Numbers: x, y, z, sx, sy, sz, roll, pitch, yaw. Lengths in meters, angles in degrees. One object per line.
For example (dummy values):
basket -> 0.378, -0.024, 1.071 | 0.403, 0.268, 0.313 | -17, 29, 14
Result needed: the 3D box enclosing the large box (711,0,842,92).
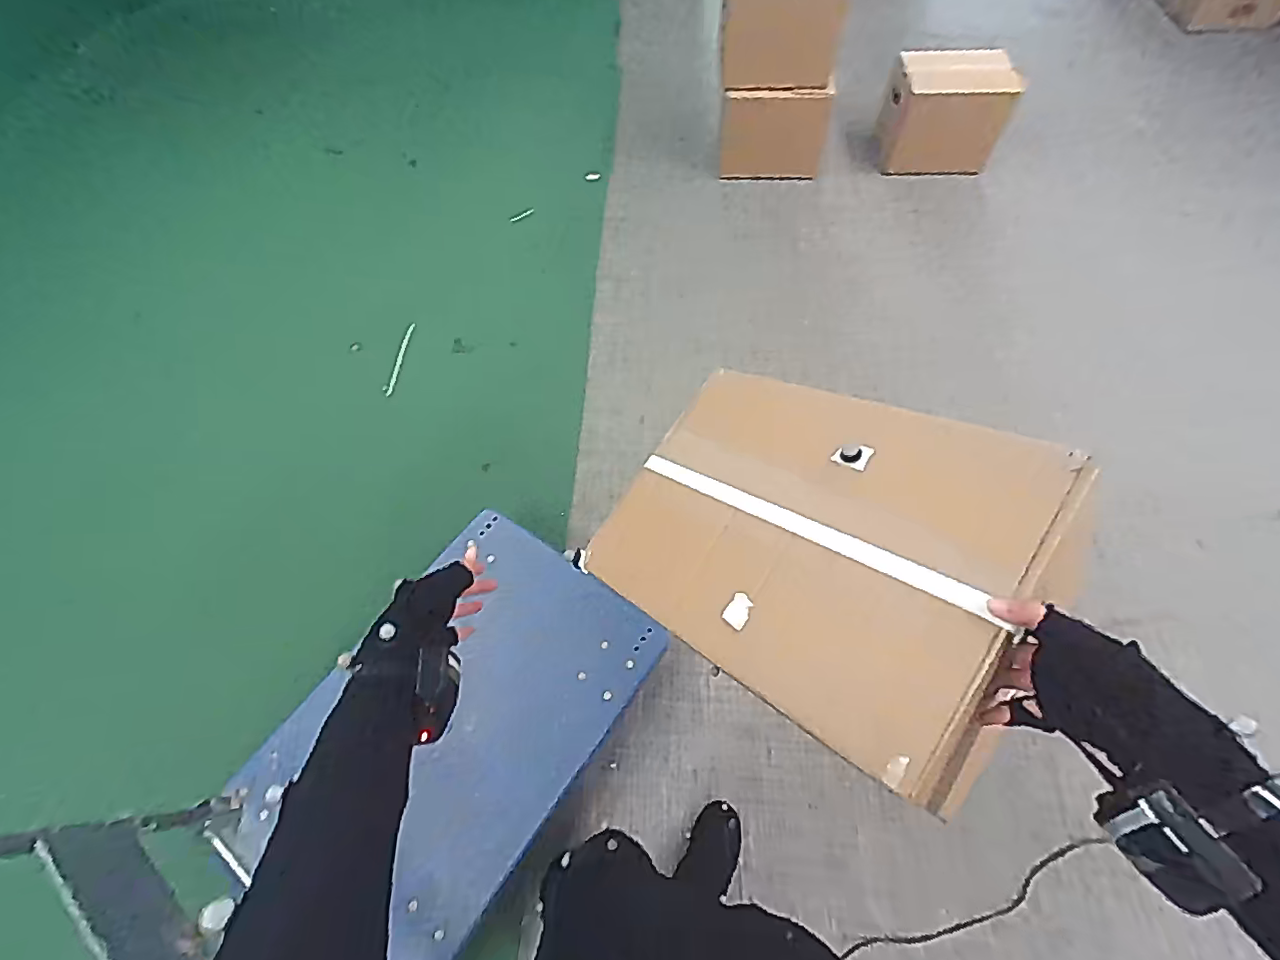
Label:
large box -> 0.477, -1.654, 1.973 | 0.408, 0.320, 0.320 | 2, 58, 2
